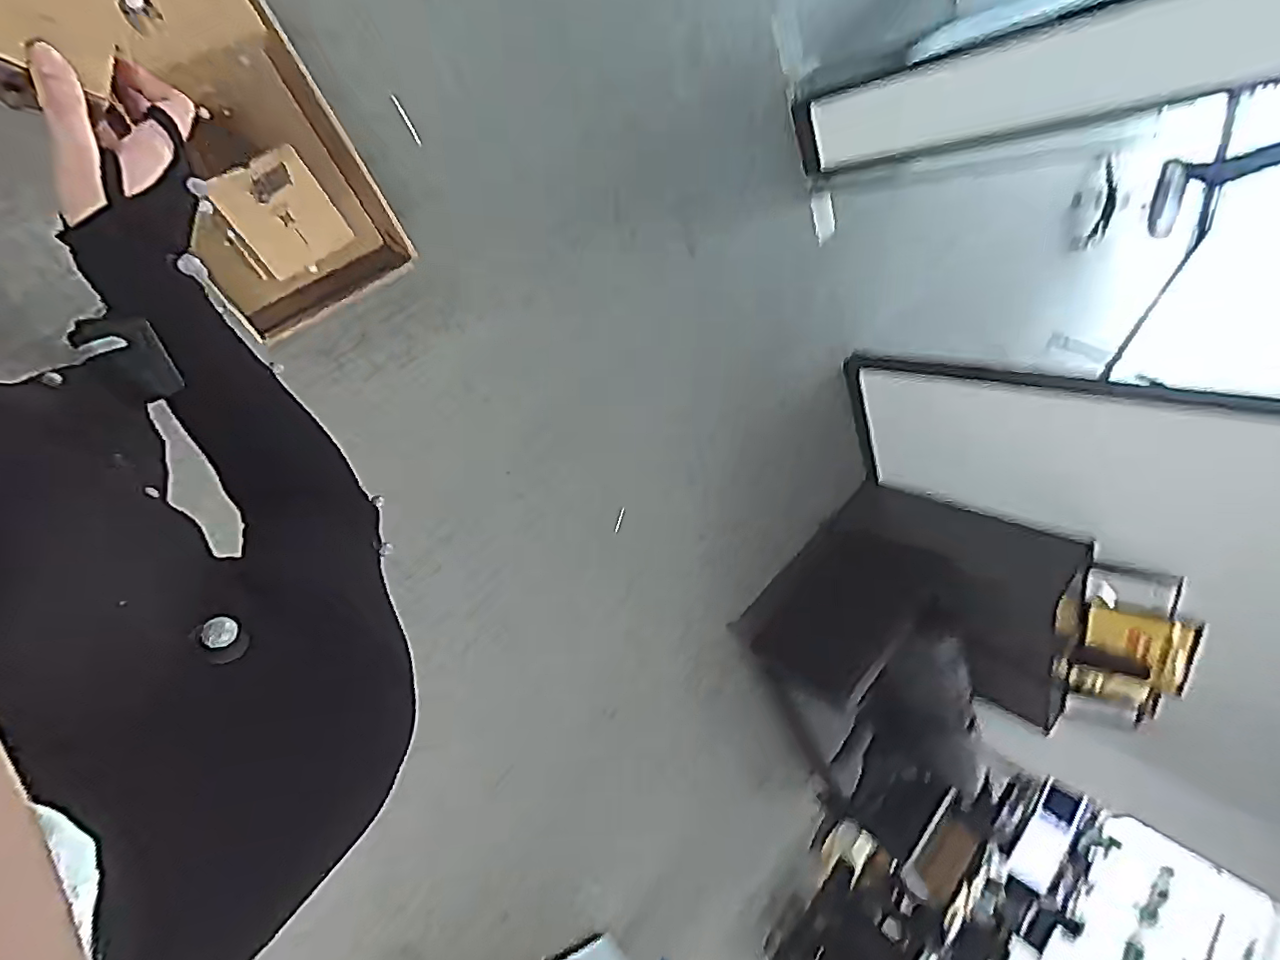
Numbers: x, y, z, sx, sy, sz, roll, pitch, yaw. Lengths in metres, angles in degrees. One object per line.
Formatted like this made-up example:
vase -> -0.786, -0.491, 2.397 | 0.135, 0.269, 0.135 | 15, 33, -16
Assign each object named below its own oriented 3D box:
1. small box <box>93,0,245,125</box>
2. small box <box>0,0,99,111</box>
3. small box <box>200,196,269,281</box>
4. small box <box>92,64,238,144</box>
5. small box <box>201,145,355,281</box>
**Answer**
small box -> -0.784, -0.700, 0.870 | 0.168, 0.176, 0.179 | -43, 129, -21
small box -> -0.455, -0.368, 0.339 | 0.168, 0.176, 0.179 | 3, 106, -49
small box -> -0.784, -0.535, 1.148 | 0.179, 0.176, 0.168 | -39, 126, -23
small box -> -0.884, -0.746, 0.991 | 0.179, 0.176, 0.168 | -41, 127, -23
small box -> -0.684, -0.493, 1.023 | 0.168, 0.176, 0.179 | -42, 127, -19
